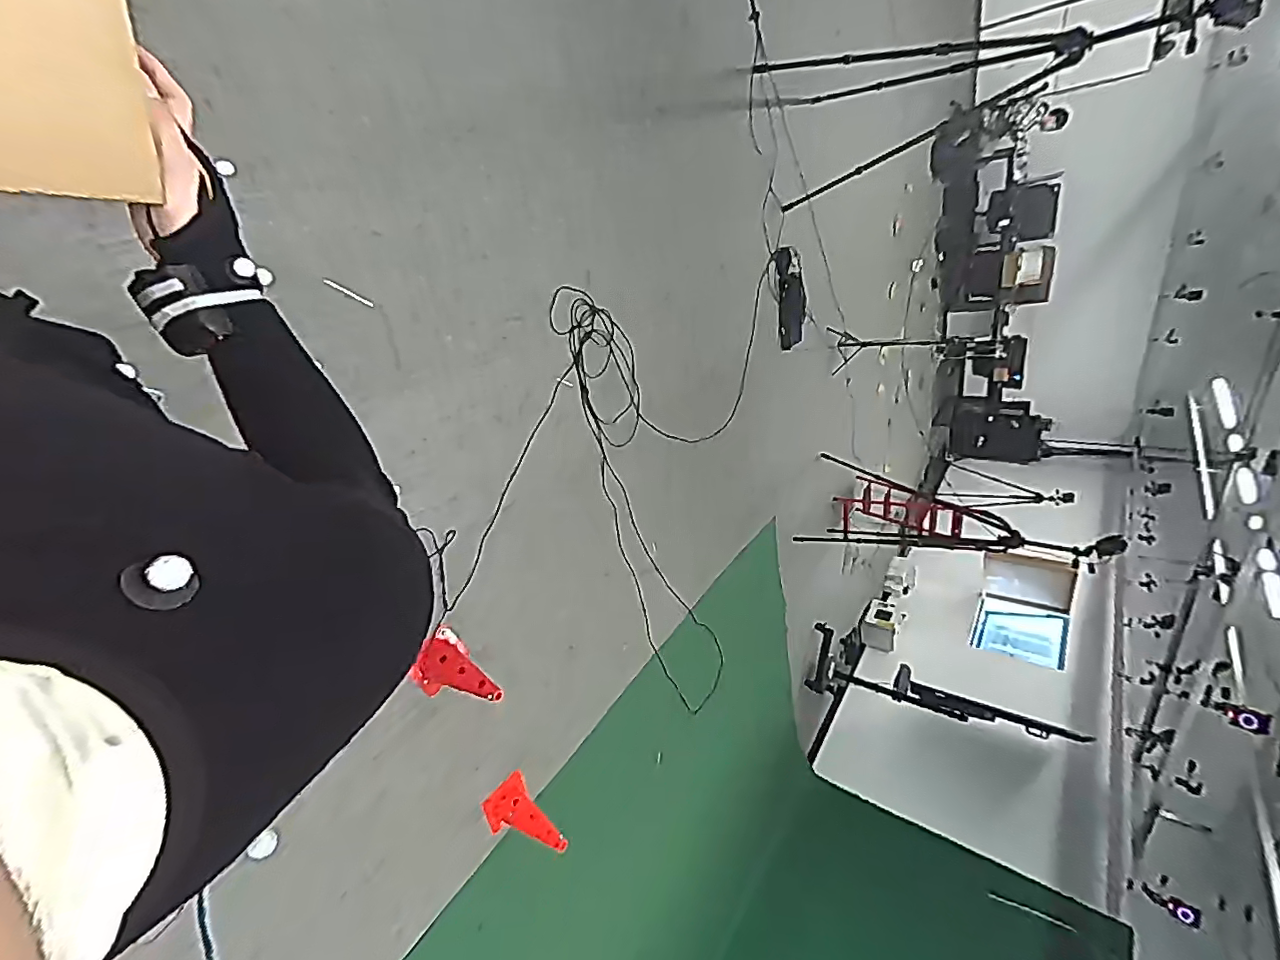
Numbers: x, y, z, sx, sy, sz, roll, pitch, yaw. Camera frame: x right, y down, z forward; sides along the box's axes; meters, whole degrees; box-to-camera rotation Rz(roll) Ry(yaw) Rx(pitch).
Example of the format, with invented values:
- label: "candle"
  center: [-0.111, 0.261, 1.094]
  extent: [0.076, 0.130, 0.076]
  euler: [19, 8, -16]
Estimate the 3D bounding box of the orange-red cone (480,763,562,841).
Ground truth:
- label: "orange-red cone"
  center: [-0.460, 1.370, 2.223]
  extent: [0.199, 0.360, 0.198]
  euler: [-32, 123, -46]
